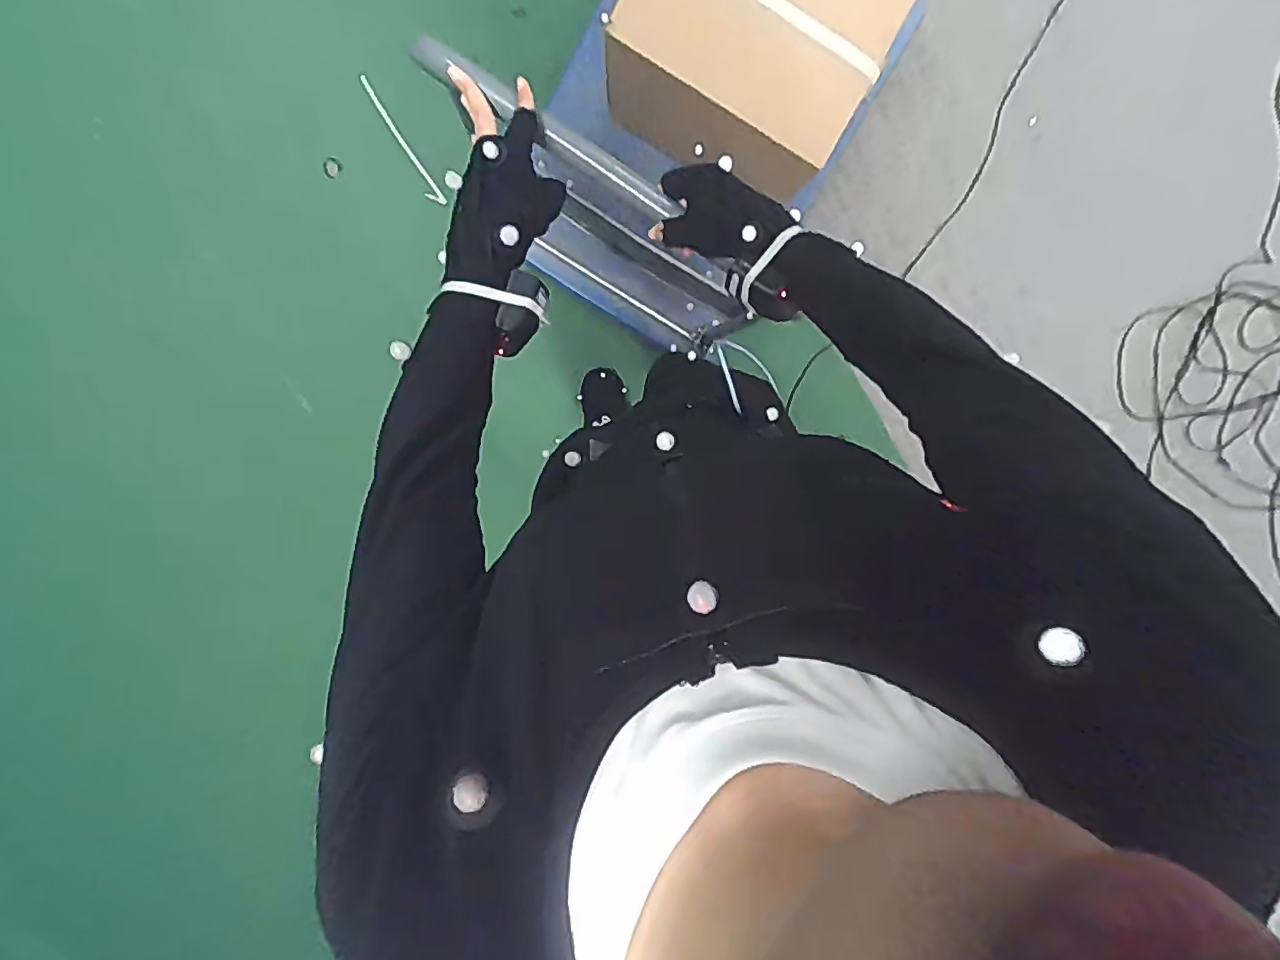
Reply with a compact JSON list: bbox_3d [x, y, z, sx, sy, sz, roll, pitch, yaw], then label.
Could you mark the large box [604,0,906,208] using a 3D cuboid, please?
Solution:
[{"bbox_3d":[0.185,-0.770,0.980,0.408,0.320,0.320,27,100,-7],"label":"large box"}]
